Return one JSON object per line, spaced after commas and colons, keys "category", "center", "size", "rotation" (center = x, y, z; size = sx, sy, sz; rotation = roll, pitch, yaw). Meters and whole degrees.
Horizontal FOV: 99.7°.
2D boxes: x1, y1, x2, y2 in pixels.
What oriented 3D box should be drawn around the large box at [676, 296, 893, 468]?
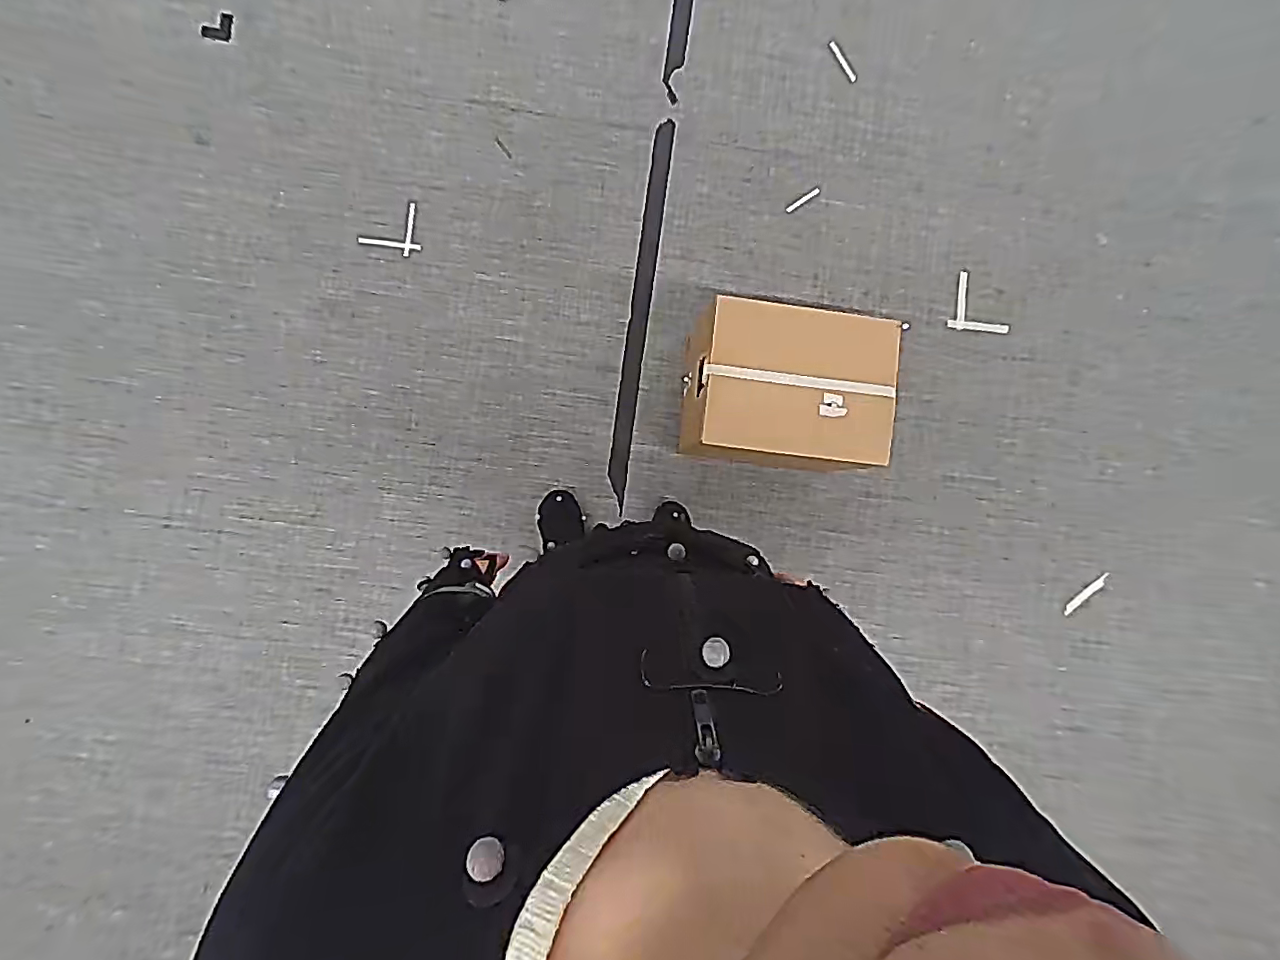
{"category": "large box", "center": [0.314, -0.206, 1.276], "size": [0.408, 0.320, 0.320], "rotation": [6, 89, -6]}
